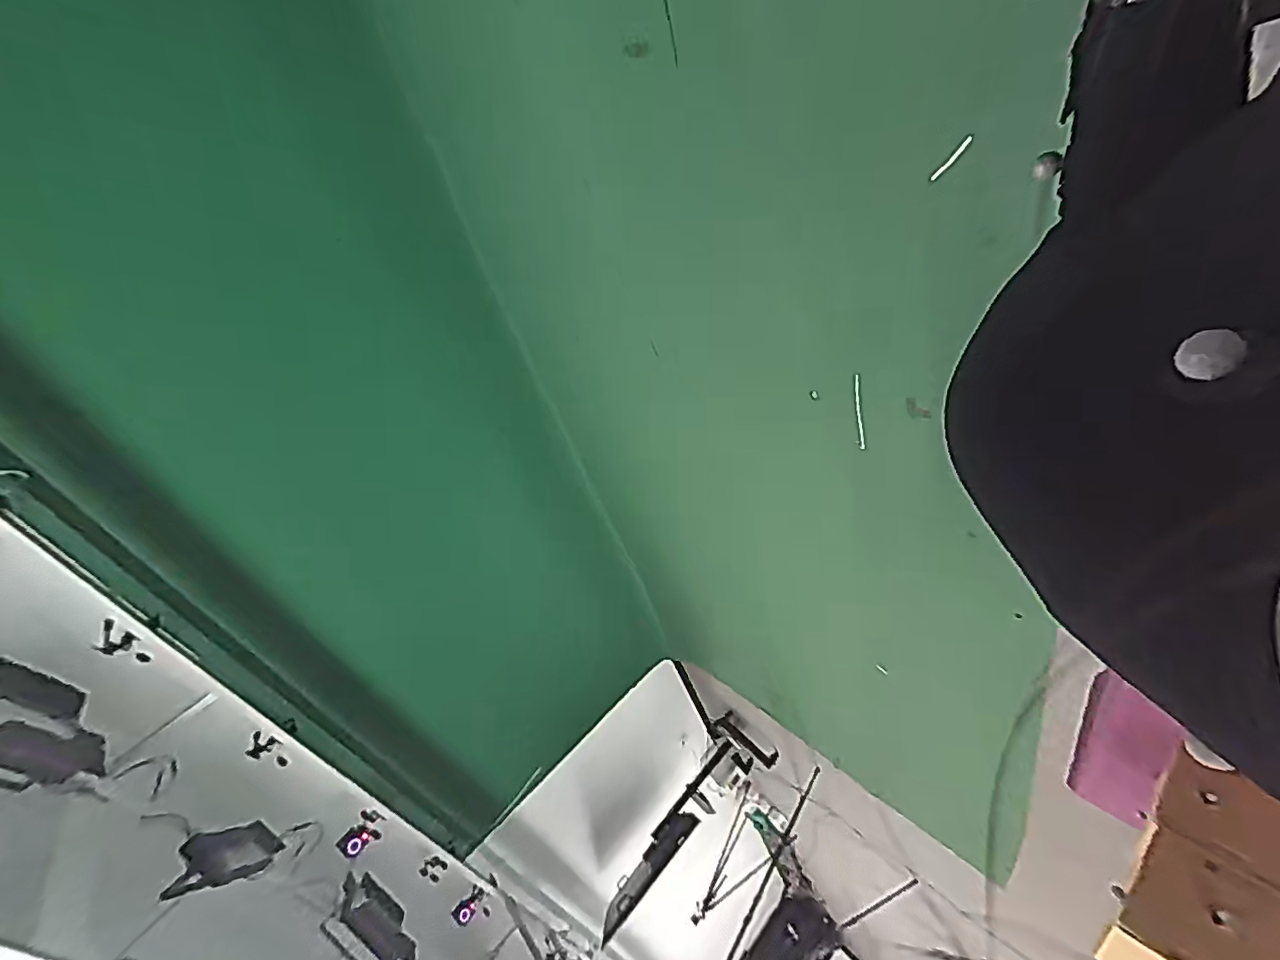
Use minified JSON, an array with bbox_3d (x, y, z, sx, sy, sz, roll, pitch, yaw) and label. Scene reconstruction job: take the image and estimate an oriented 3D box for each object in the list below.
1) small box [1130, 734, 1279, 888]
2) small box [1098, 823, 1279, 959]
[{"bbox_3d":[0.888,0.526,0.814,0.168,0.176,0.179,24,145,46],"label":"small box"},{"bbox_3d":[0.776,0.623,0.744,0.168,0.176,0.179,25,145,46],"label":"small box"}]
